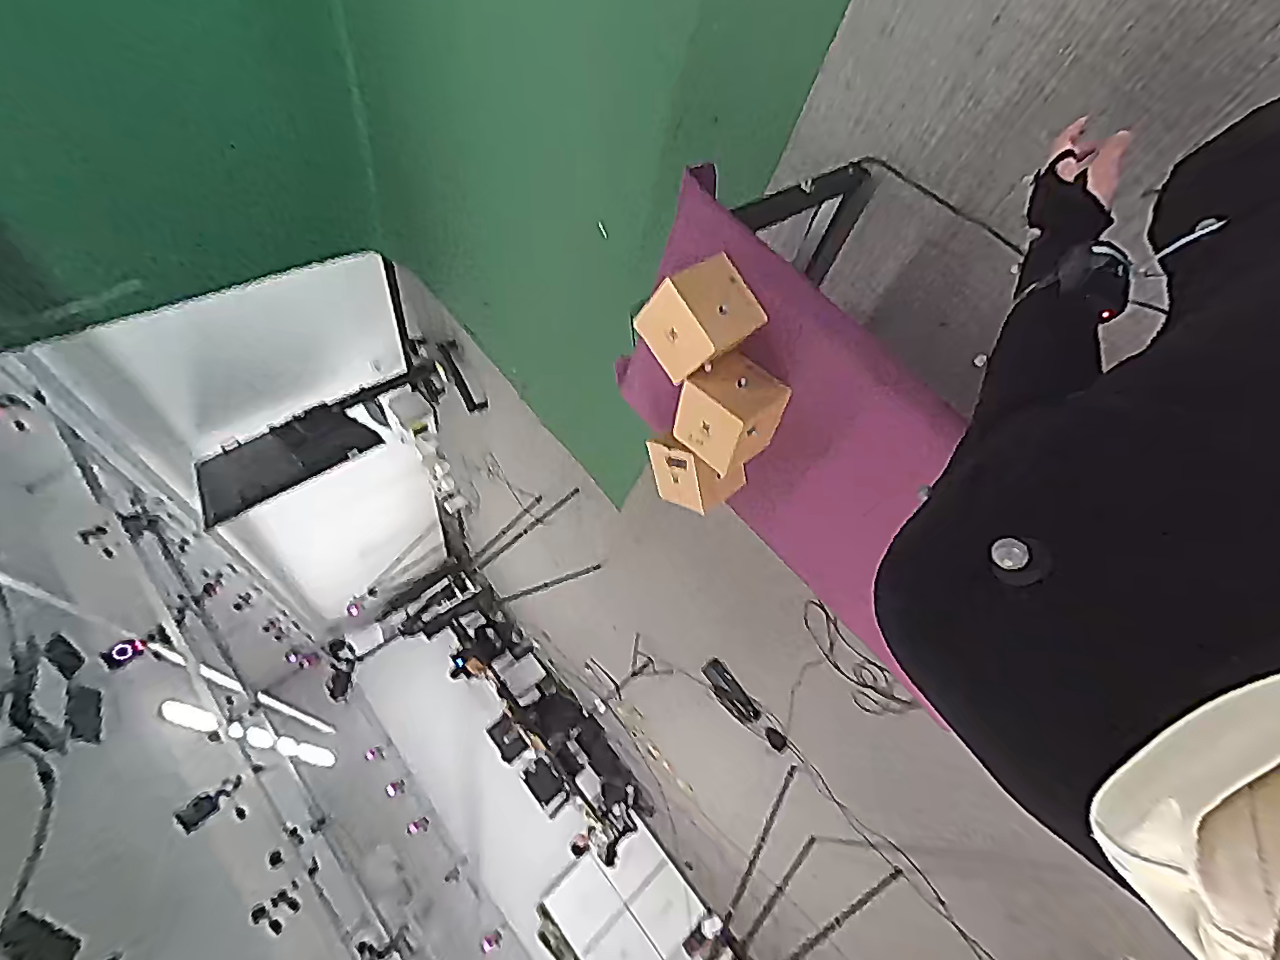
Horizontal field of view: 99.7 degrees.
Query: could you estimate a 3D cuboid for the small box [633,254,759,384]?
[{"bbox_3d":[0.121,-0.336,1.127,0.168,0.176,0.179,55,153,-1],"label":"small box"}]
